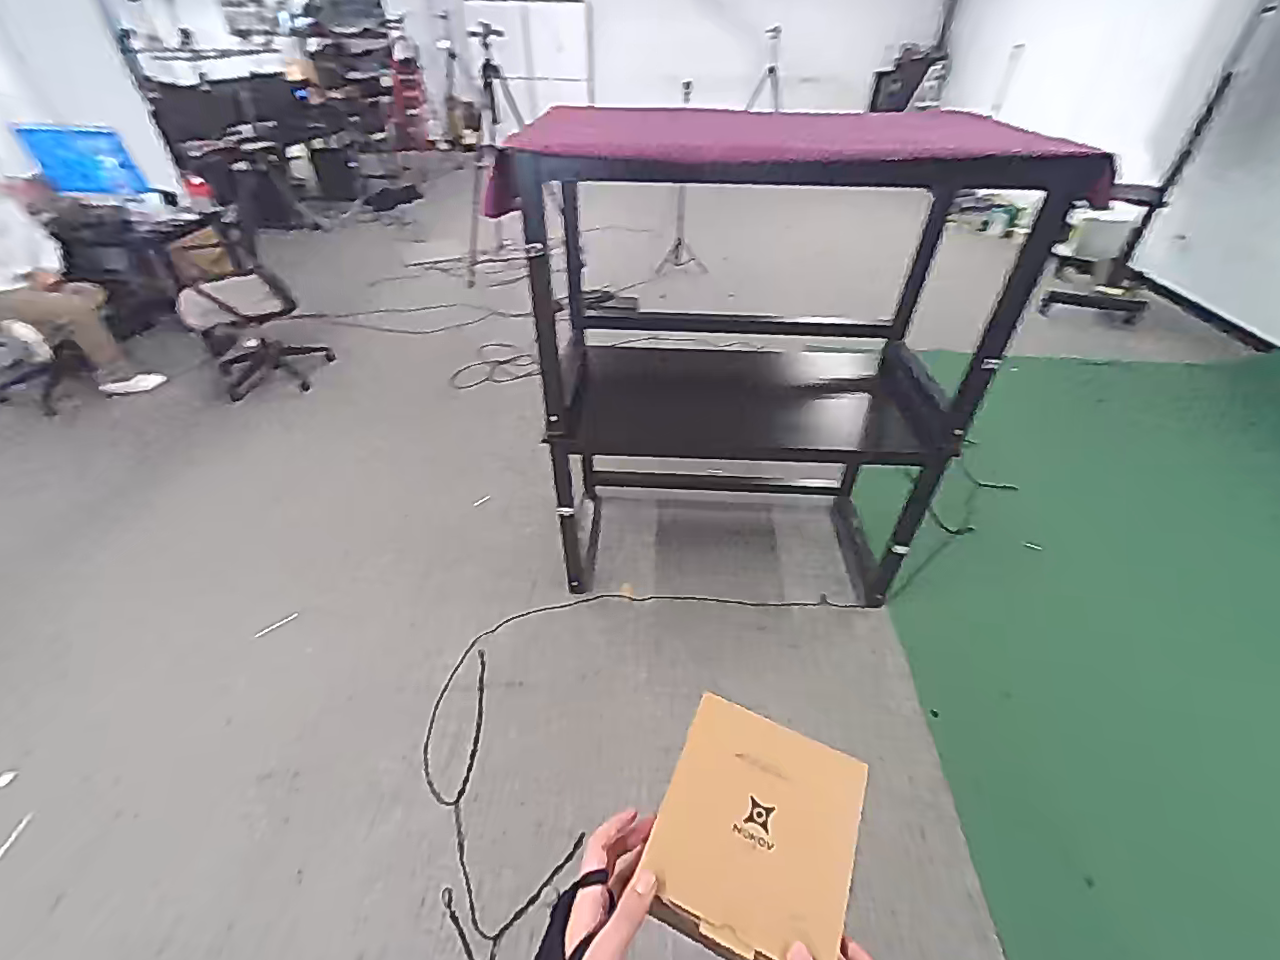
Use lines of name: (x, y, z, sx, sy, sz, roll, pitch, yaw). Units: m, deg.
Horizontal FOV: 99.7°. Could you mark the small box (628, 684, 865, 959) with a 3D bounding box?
small box: (0.098, 0.343, 0.530, 0.168, 0.176, 0.179, 20, 49, 15)
